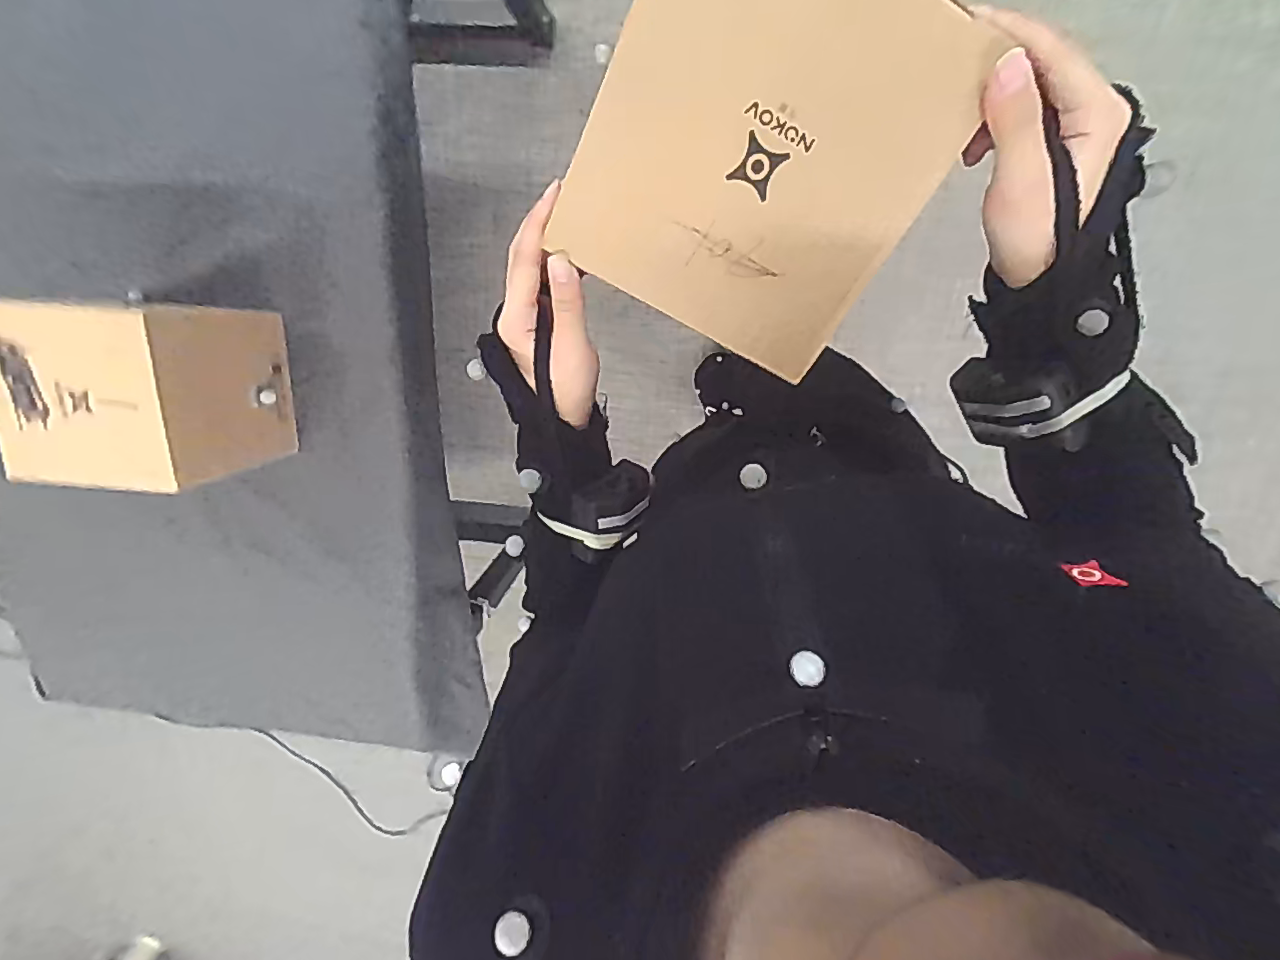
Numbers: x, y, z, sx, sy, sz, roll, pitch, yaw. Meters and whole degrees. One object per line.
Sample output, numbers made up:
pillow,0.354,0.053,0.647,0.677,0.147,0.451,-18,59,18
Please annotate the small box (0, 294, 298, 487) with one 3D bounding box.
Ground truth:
small box,-0.506,-0.101,0.570,0.179,0.176,0.168,5,107,4
